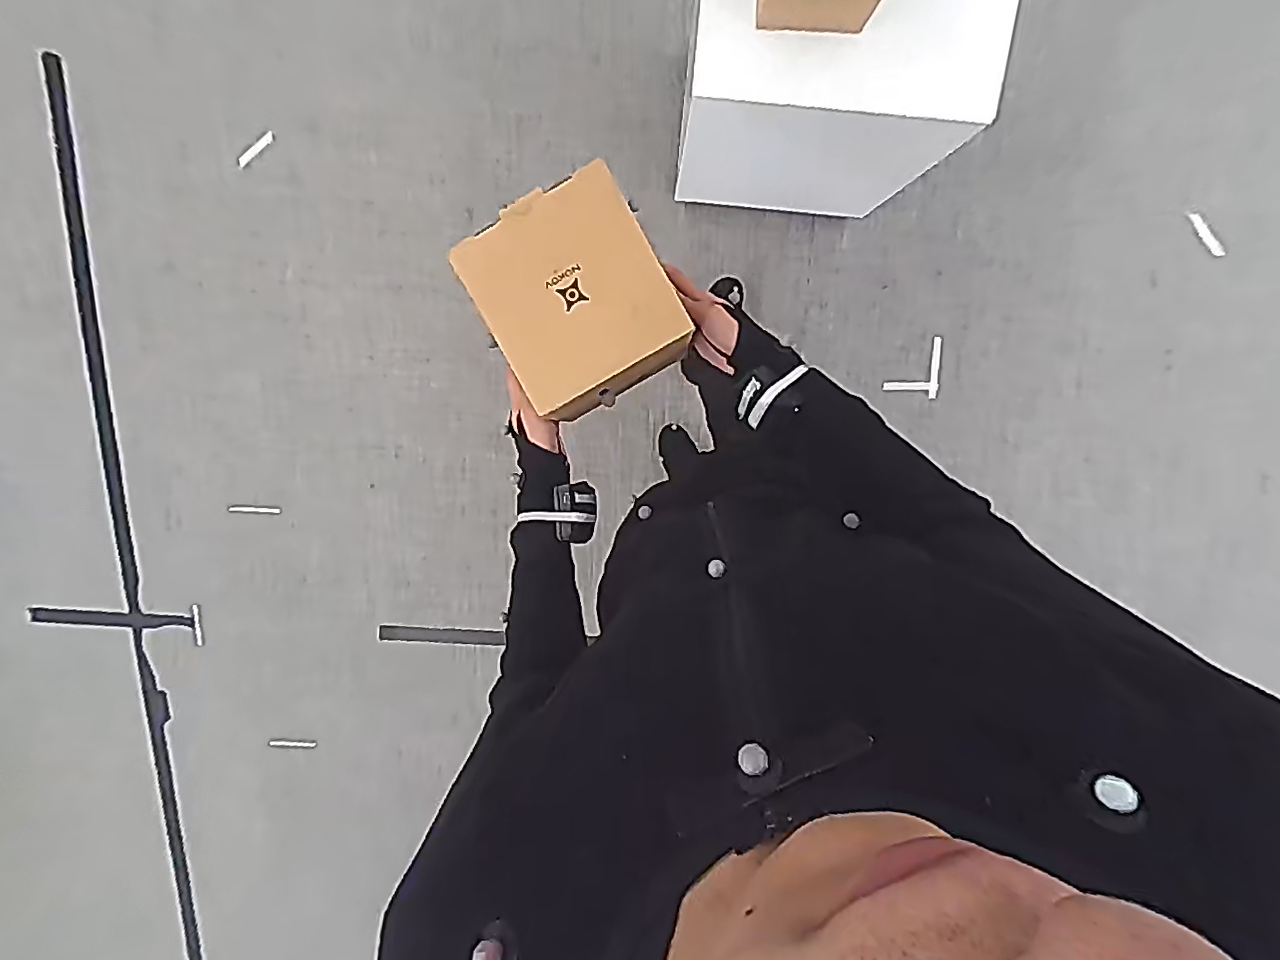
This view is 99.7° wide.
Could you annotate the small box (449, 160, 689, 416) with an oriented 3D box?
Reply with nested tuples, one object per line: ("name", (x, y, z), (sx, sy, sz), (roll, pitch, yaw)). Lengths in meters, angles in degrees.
("small box", (-0.061, -0.180, 0.570), (0.168, 0.176, 0.179), (-29, 91, 4))

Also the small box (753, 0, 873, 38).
("small box", (0.271, -0.795, 0.796), (0.179, 0.176, 0.168), (2, 101, -1))
